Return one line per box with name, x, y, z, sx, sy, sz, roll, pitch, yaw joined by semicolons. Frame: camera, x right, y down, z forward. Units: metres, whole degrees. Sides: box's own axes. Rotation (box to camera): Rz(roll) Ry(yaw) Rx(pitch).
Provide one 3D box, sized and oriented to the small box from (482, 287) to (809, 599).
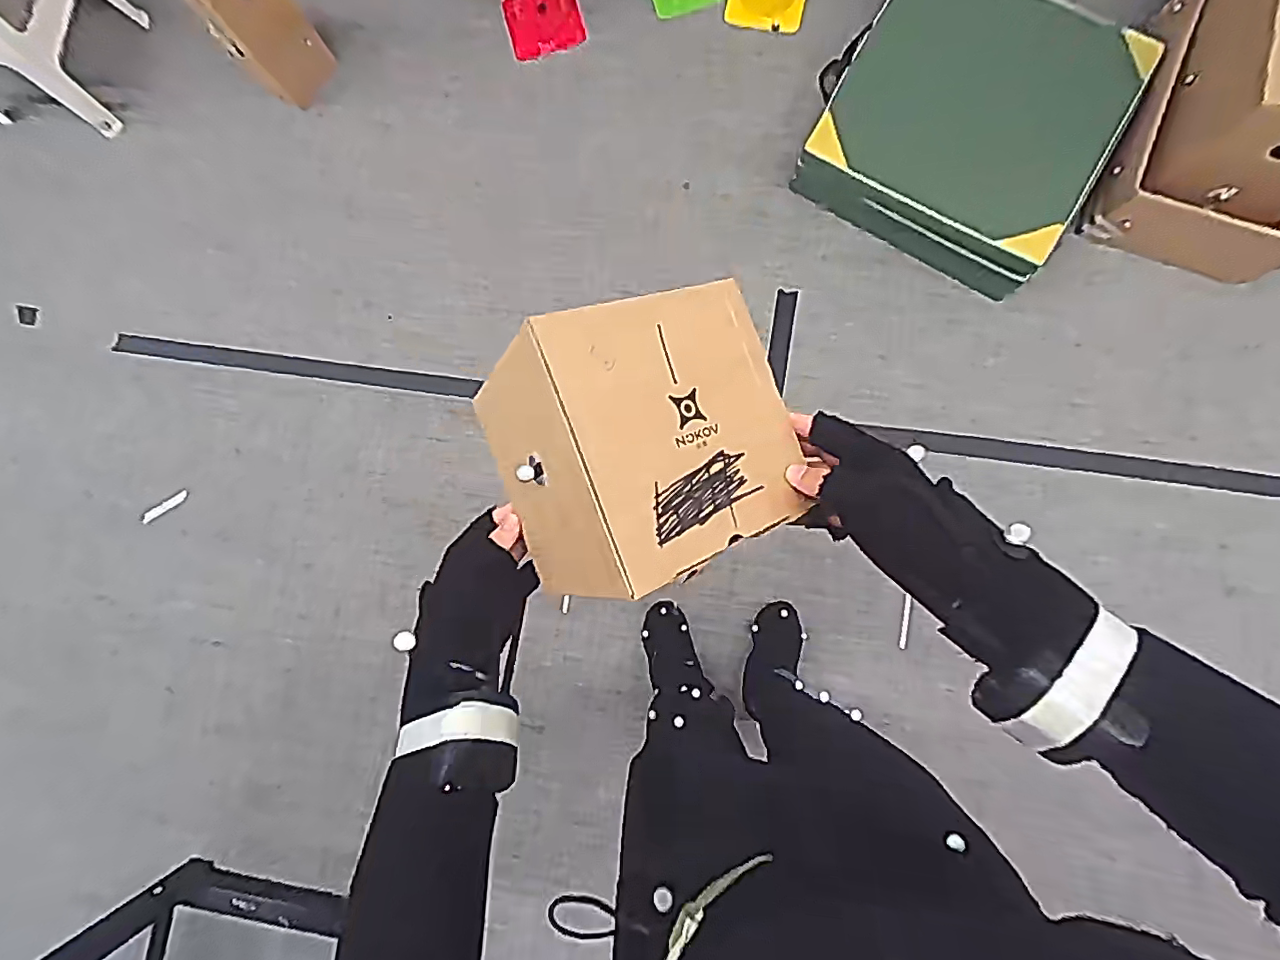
small box;-0.008;-0.022;0.428;0.168;0.176;0.179;-22;90;-28
